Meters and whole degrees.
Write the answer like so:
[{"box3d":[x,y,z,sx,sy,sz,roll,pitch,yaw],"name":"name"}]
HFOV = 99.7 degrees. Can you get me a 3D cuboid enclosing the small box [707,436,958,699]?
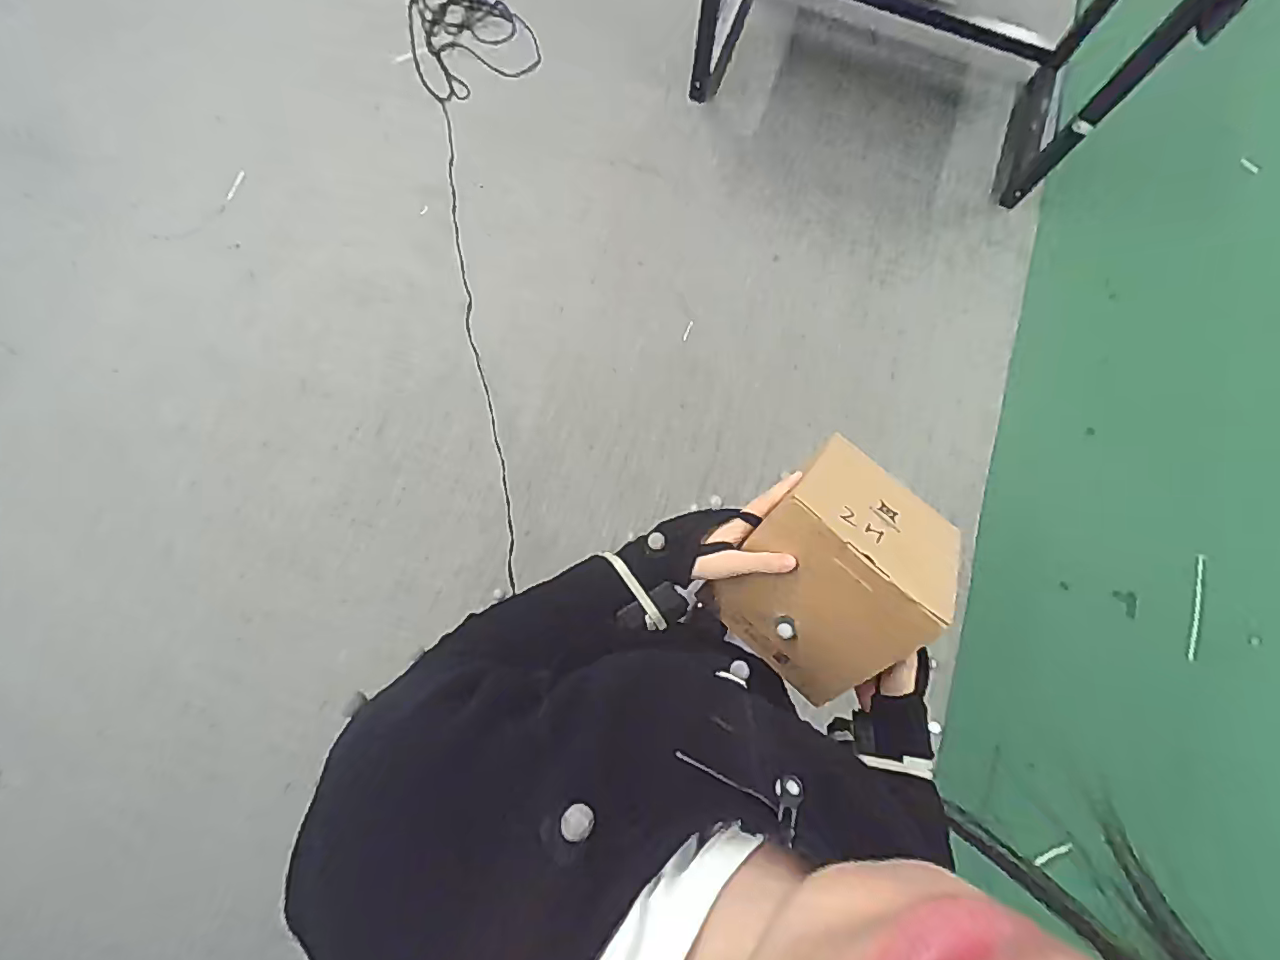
[{"box3d":[0.198,0.089,0.570,0.168,0.176,0.179,42,39,8],"name":"small box"}]
